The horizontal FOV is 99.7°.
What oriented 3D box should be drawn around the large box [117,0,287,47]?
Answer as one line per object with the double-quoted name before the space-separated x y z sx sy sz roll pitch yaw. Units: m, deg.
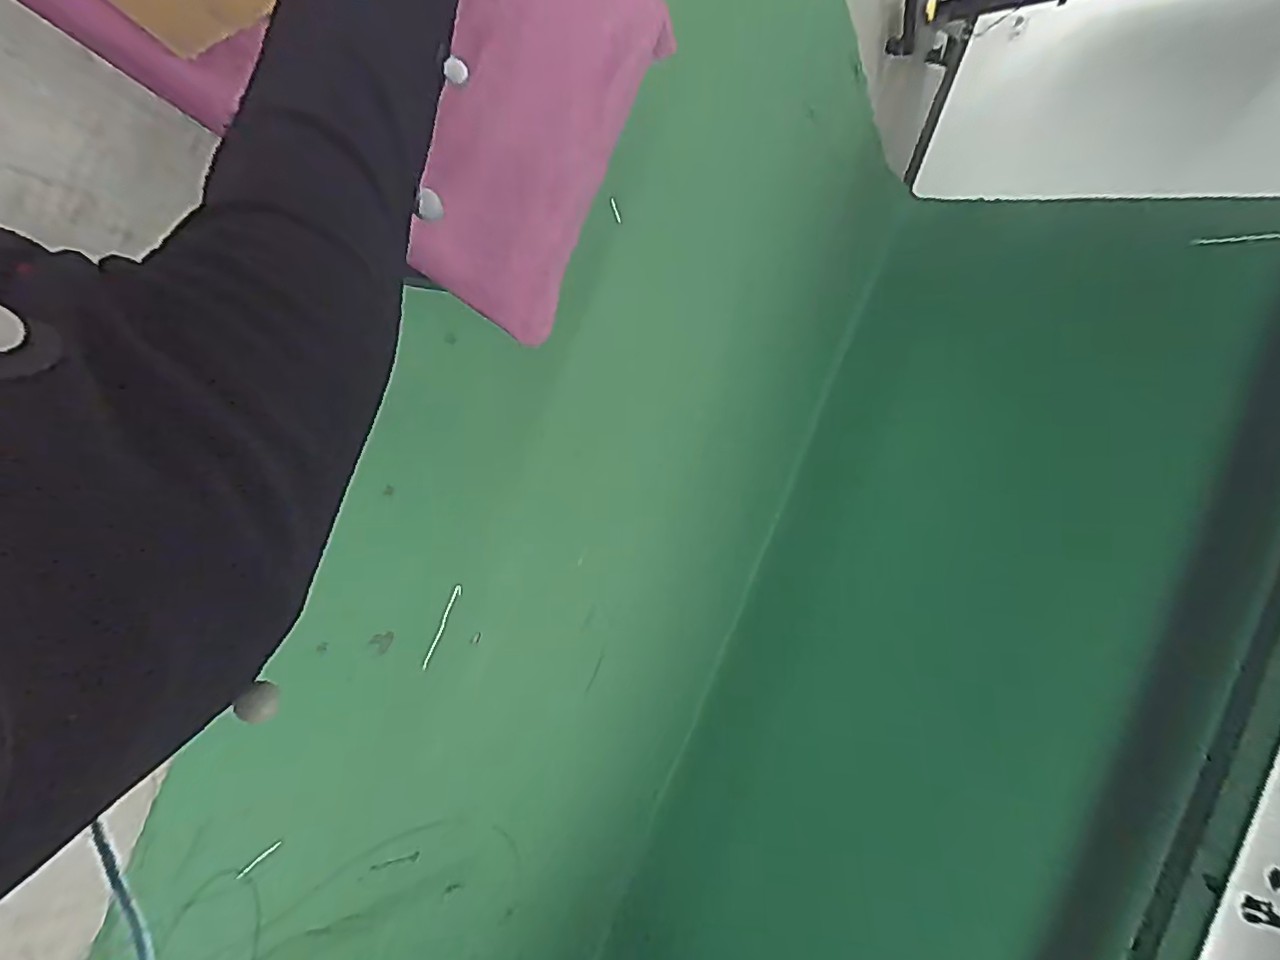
"large box" -0.342 -0.610 0.351 0.320 0.320 0.408 30 83 -54
